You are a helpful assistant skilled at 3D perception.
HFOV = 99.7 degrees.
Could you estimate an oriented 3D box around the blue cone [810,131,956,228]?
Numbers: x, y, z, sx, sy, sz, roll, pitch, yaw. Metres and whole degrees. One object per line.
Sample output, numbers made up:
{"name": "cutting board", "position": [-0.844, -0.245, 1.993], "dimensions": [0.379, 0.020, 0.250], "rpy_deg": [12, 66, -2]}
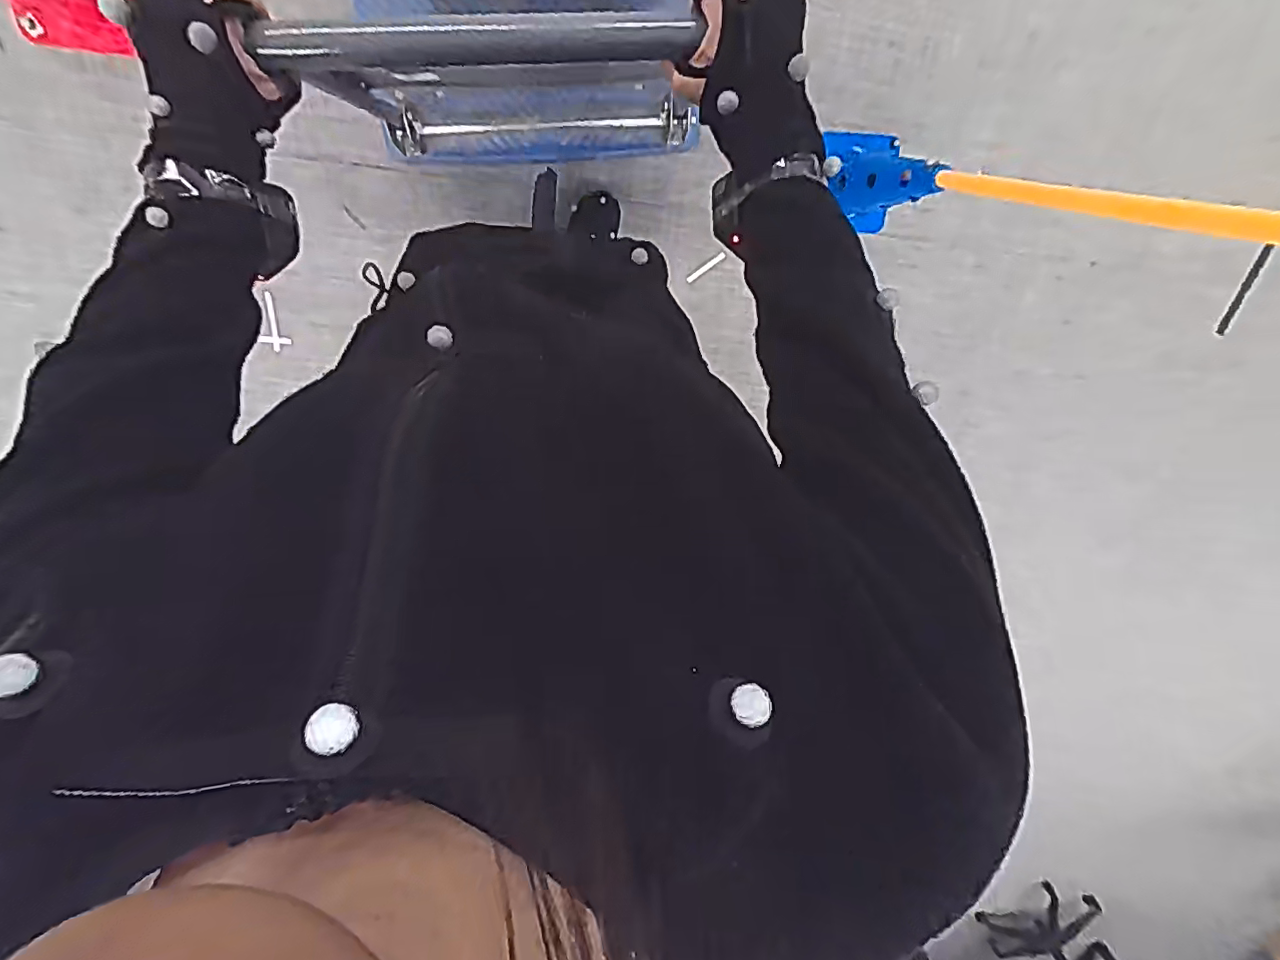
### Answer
{"name": "blue cone", "position": [0.502, -0.609, 1.087], "dimensions": [0.193, 0.380, 0.192], "rpy_deg": [1, 116, -7]}
